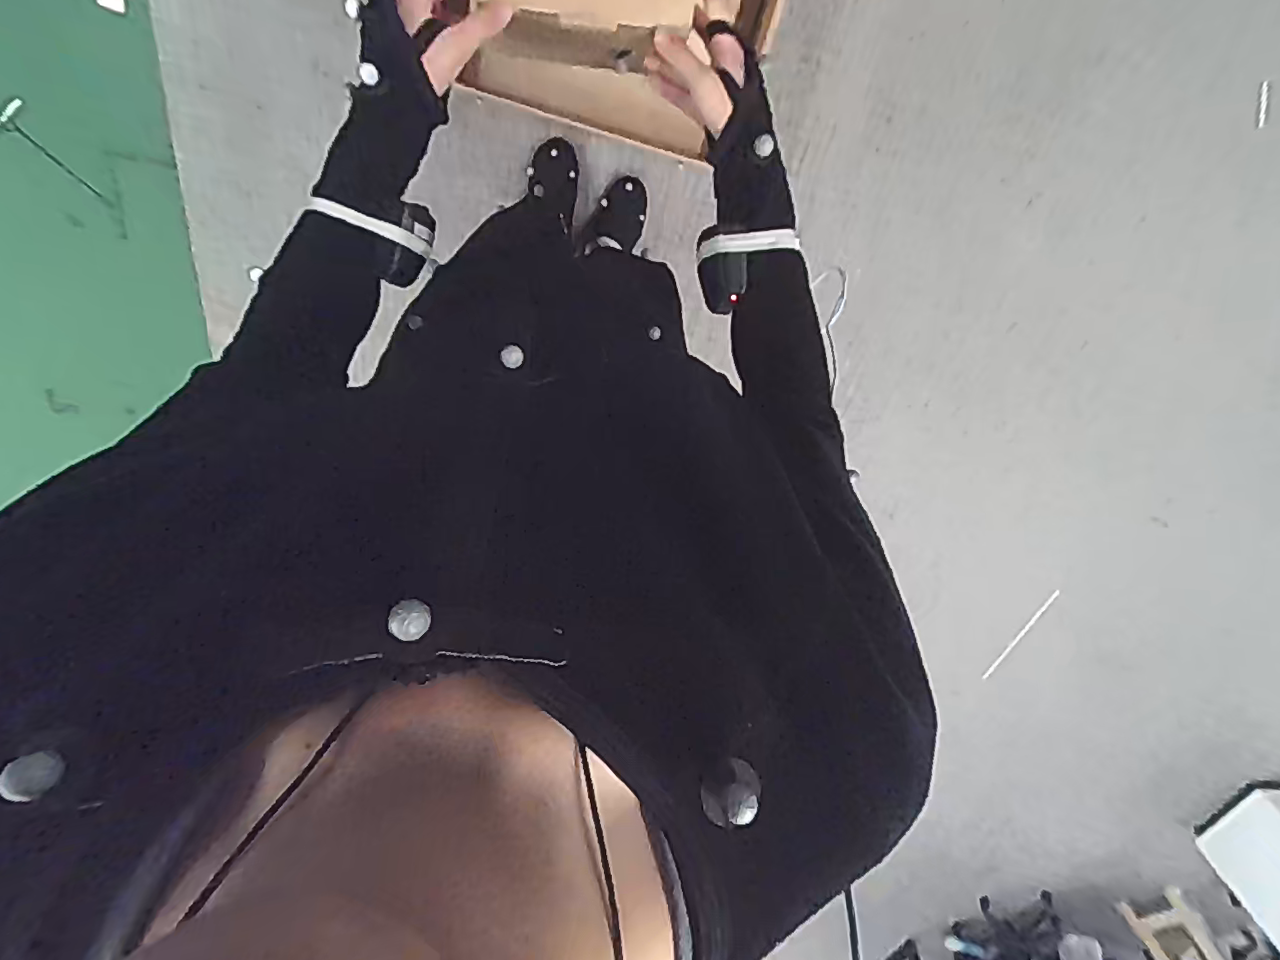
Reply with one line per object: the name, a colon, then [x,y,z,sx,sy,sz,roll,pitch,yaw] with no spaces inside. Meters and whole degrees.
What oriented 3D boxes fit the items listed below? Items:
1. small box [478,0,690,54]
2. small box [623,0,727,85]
small box: [-0.046,-0.470,0.434,0.168,0.176,0.179,-1,118,-10]
small box: [0.061,-0.847,0.977,0.168,0.176,0.179,14,122,-7]
